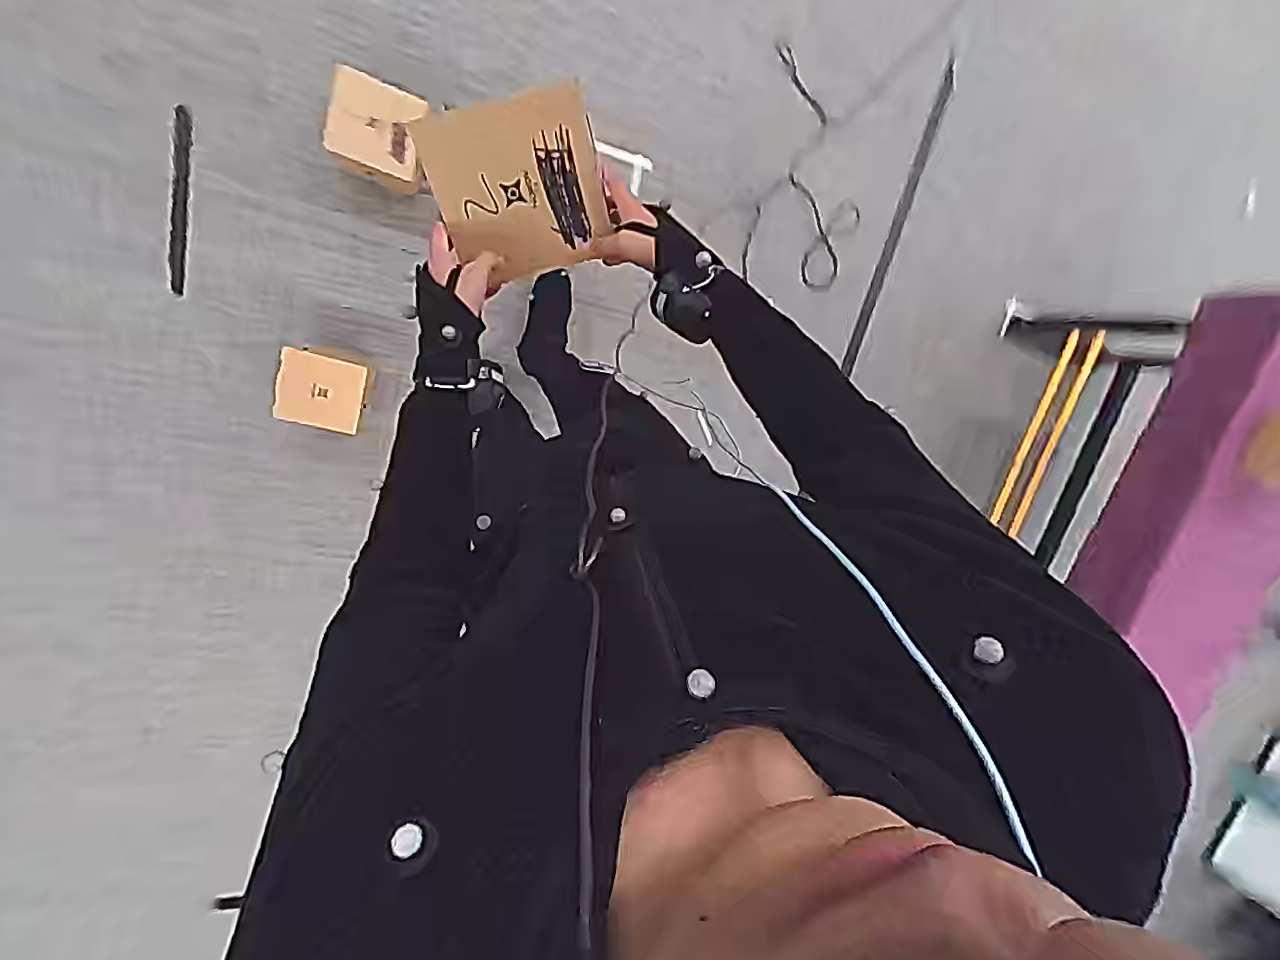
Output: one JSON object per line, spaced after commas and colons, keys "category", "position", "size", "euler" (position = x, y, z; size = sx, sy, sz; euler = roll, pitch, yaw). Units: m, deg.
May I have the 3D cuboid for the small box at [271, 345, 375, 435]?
{"category": "small box", "position": [-0.753, -0.221, 1.301], "size": [0.179, 0.176, 0.168], "euler": [11, 103, -21]}

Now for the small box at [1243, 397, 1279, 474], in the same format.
{"category": "small box", "position": [1.676, -0.095, 1.348], "size": [0.168, 0.176, 0.179], "euler": [12, 103, -22]}

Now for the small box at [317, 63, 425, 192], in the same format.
{"category": "small box", "position": [-0.580, -0.756, 1.187], "size": [0.179, 0.176, 0.168], "euler": [13, 102, -21]}
